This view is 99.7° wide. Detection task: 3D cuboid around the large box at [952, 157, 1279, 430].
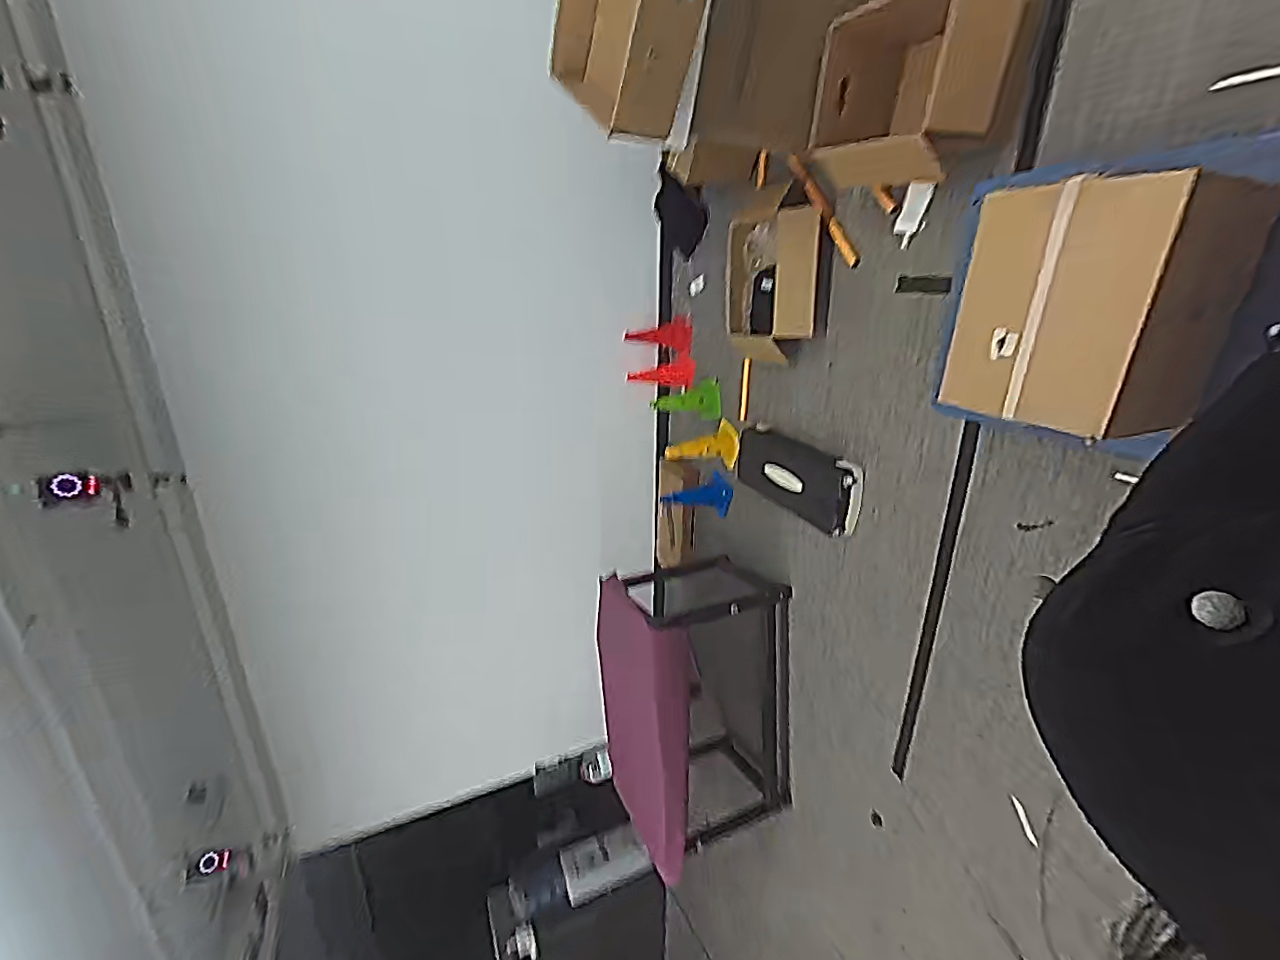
[{"bbox_3d":[0.860,-0.339,1.011,0.320,0.320,0.408,-141,46,-58],"label":"large box"}]
